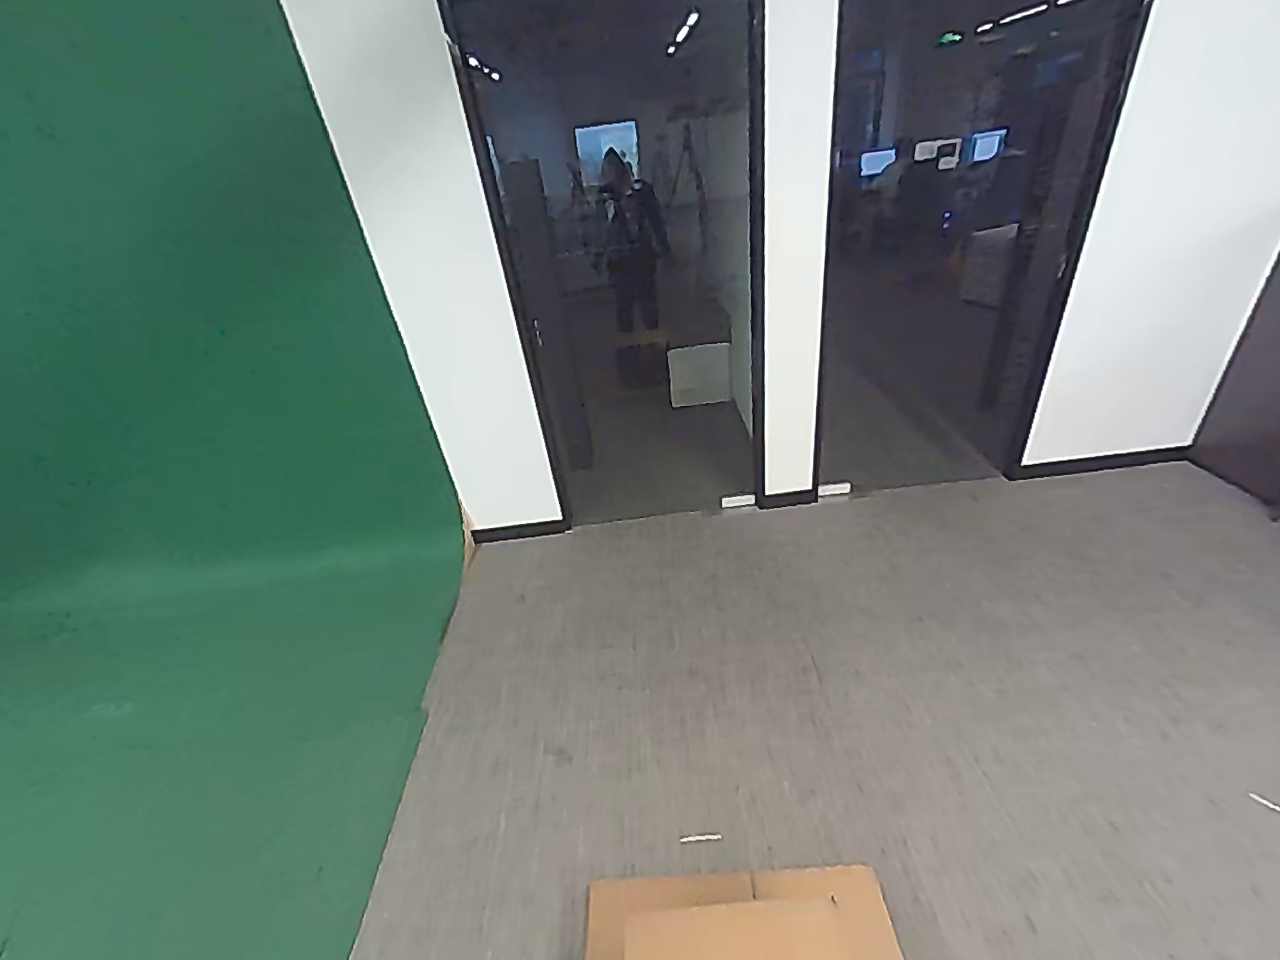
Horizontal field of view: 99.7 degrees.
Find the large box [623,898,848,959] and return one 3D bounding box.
[{"bbox_3d":[0.185,1.021,0.975,0.408,0.320,0.320,-6,32,1],"label":"large box"}]
